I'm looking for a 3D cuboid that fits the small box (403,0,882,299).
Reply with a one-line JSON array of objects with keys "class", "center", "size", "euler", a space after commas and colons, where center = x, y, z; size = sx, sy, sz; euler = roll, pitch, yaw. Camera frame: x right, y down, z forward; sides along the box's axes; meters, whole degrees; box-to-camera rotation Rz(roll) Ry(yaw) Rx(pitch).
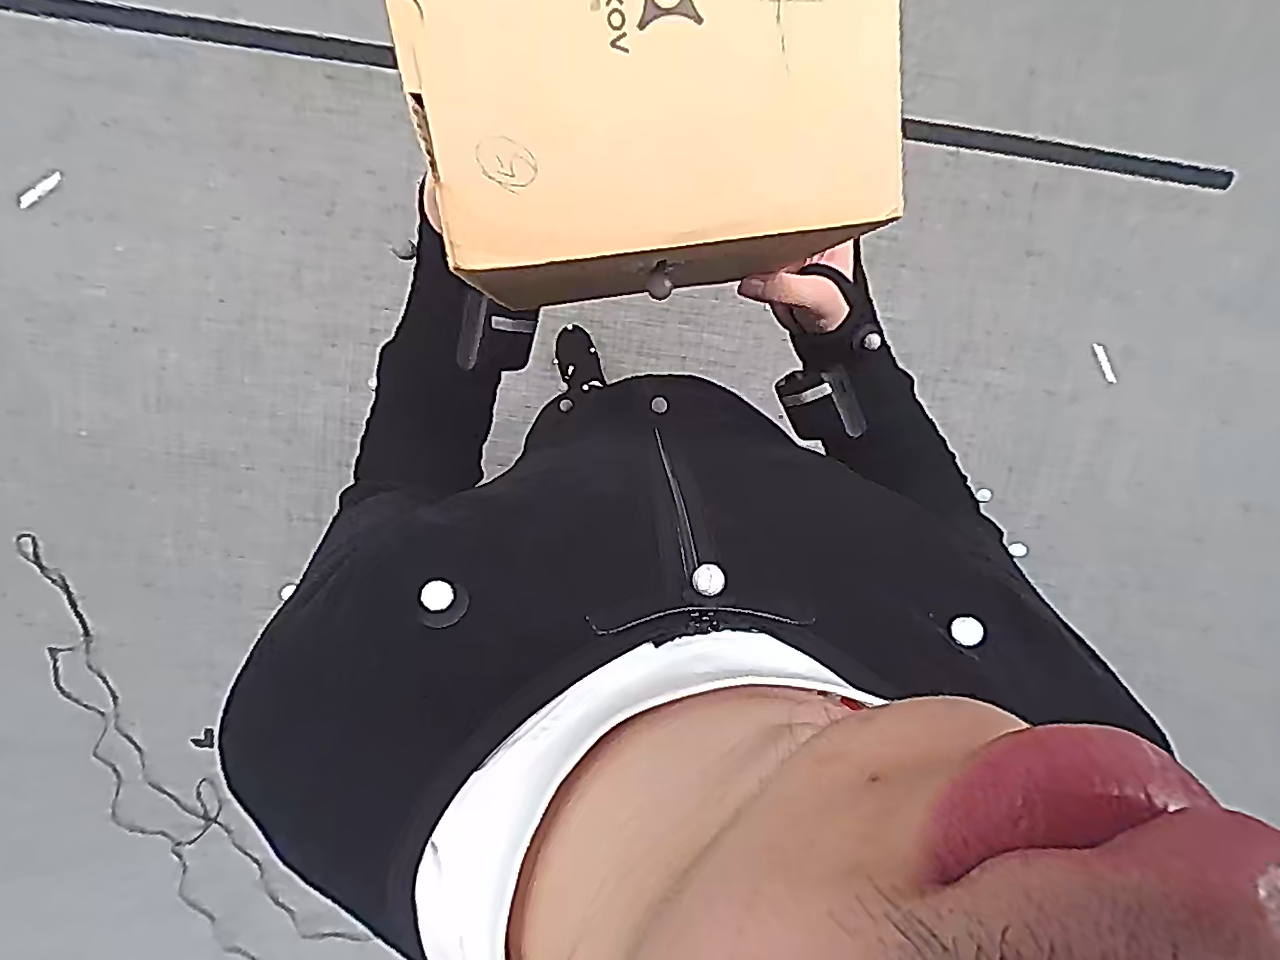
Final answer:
[{"class": "small box", "center": [-0.005, -0.191, 0.273], "size": [0.179, 0.176, 0.168], "euler": [-9, 105, -4]}]
